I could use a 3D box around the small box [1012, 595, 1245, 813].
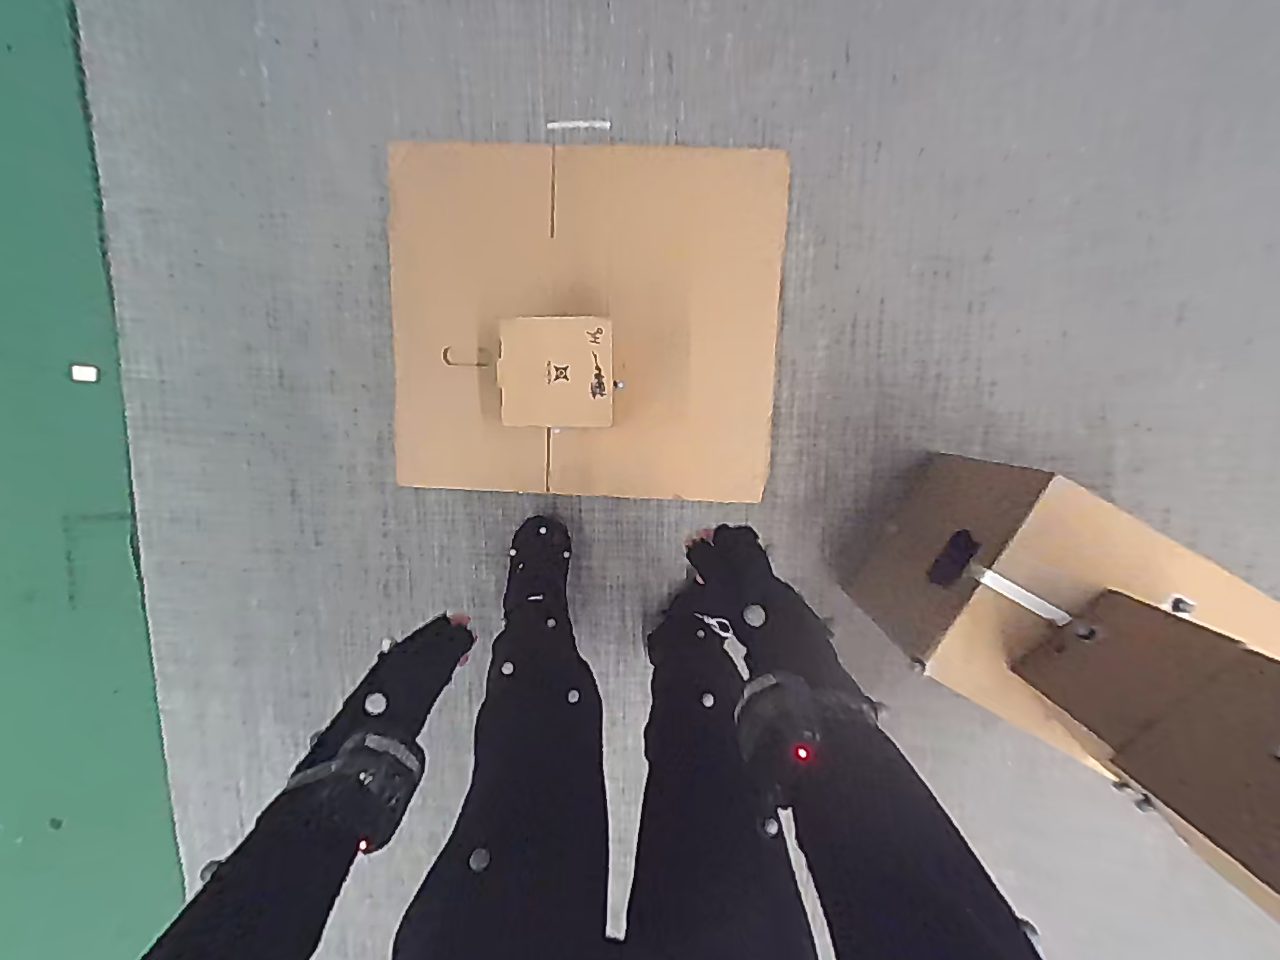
[{"bbox_3d":[0.597,0.265,0.630,0.179,0.176,0.168,44,97,-2],"label":"small box"}]

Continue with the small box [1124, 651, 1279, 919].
[{"bbox_3d":[0.585,0.289,0.468,0.168,0.176,0.179,41,98,-3],"label":"small box"}]

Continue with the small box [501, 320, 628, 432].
[{"bbox_3d":[-0.118,-0.165,0.907,0.179,0.176,0.168,-2,95,5],"label":"small box"}]
